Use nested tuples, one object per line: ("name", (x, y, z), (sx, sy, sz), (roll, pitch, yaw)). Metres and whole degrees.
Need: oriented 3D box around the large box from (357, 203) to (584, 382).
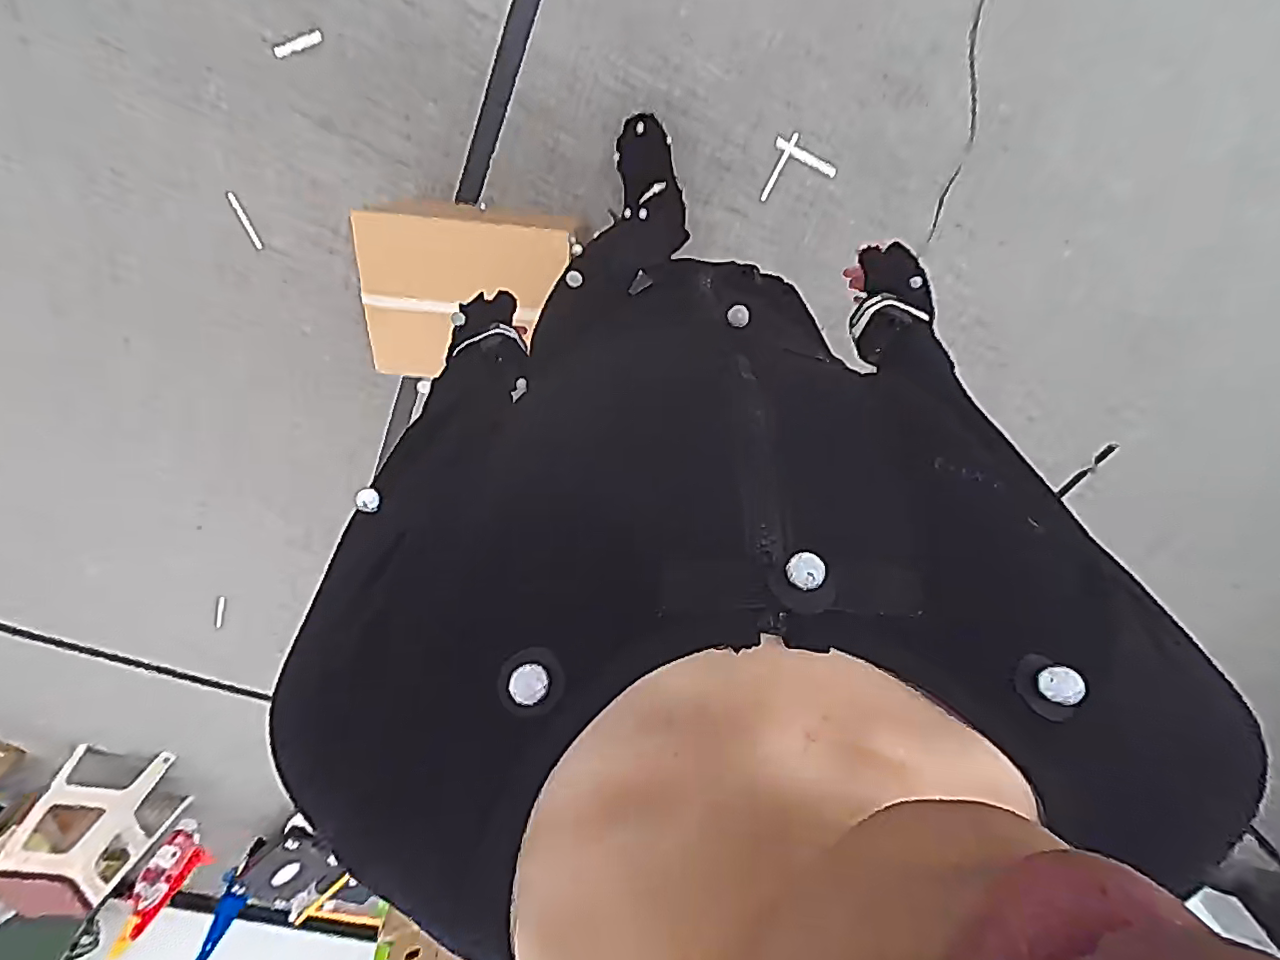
("large box", (-0.339, -0.425, 1.201), (0.408, 0.320, 0.320), (4, 121, -4))
